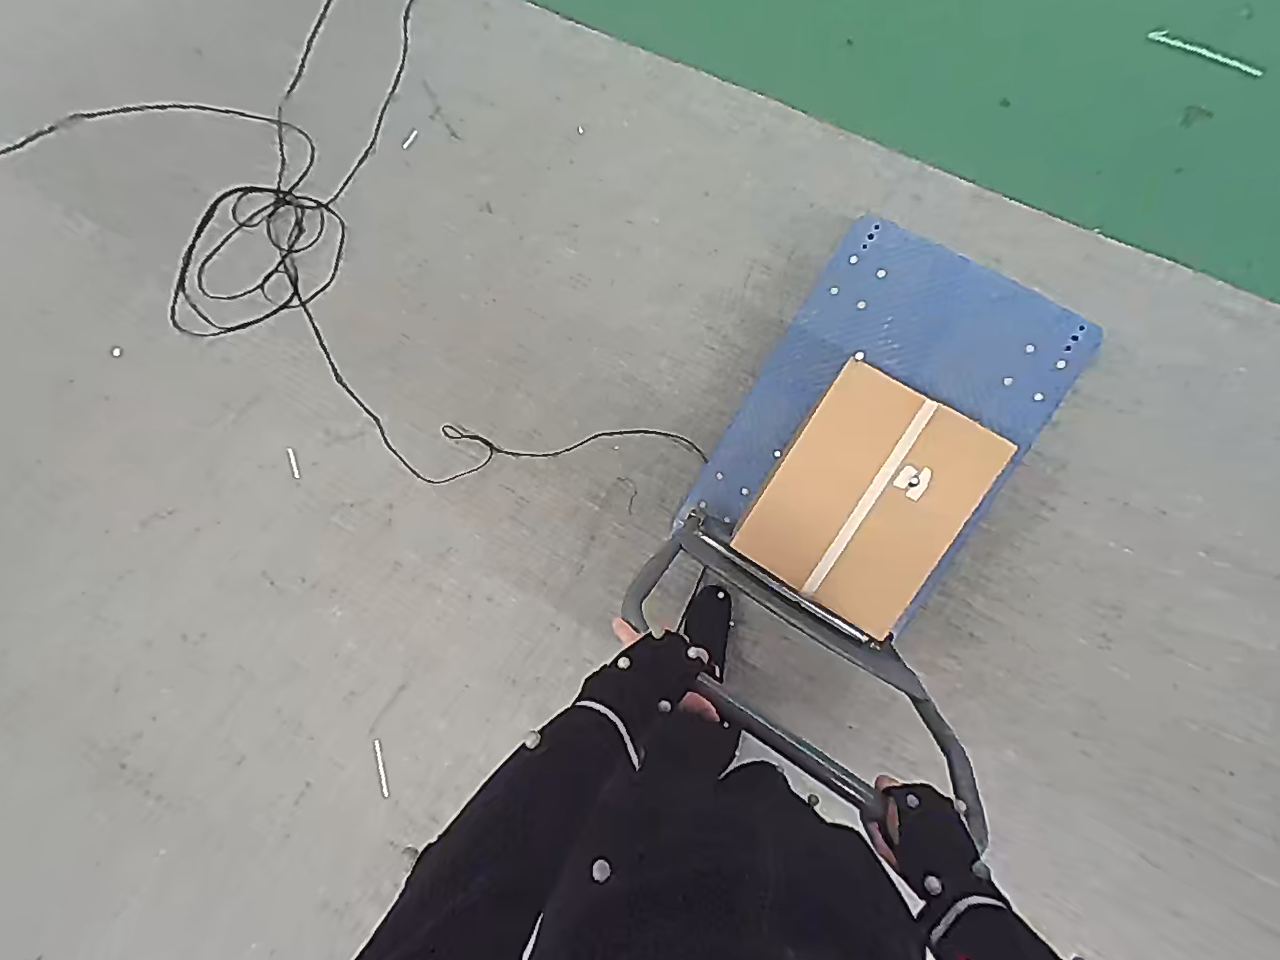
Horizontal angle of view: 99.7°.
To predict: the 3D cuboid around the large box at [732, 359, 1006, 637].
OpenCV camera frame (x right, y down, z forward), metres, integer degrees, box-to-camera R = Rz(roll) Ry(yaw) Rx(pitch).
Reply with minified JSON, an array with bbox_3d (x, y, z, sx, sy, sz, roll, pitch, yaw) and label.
[{"bbox_3d":[0.422,0.033,1.096,0.320,0.320,0.408,32,96,9],"label":"large box"}]
